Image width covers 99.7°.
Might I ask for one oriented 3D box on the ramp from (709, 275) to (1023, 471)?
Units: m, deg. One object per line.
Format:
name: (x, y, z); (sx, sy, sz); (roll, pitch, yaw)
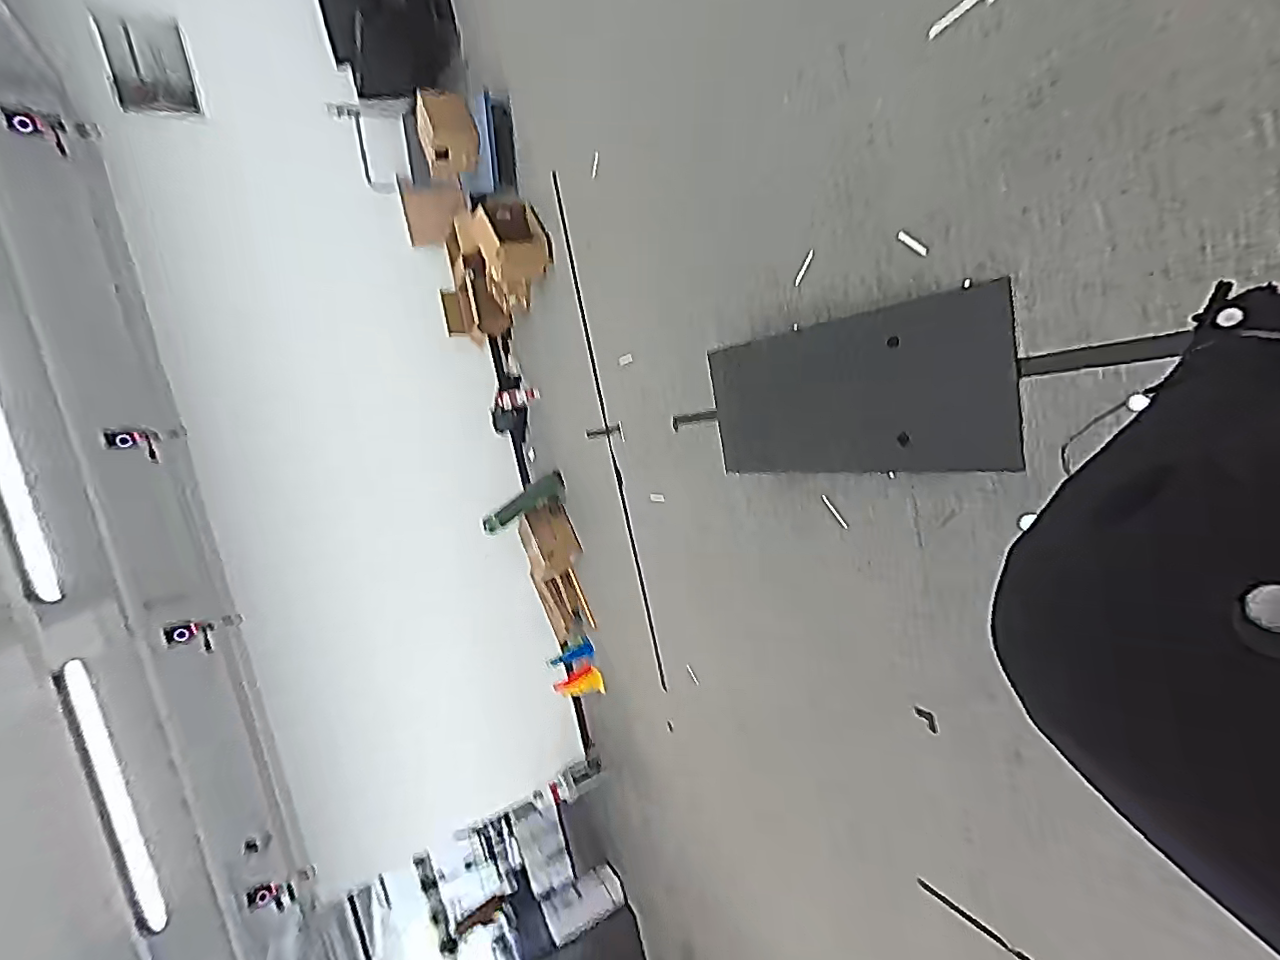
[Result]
ramp: (0.627, -0.273, 1.736); (0.991, 0.206, 0.509); (2, 104, 61)
